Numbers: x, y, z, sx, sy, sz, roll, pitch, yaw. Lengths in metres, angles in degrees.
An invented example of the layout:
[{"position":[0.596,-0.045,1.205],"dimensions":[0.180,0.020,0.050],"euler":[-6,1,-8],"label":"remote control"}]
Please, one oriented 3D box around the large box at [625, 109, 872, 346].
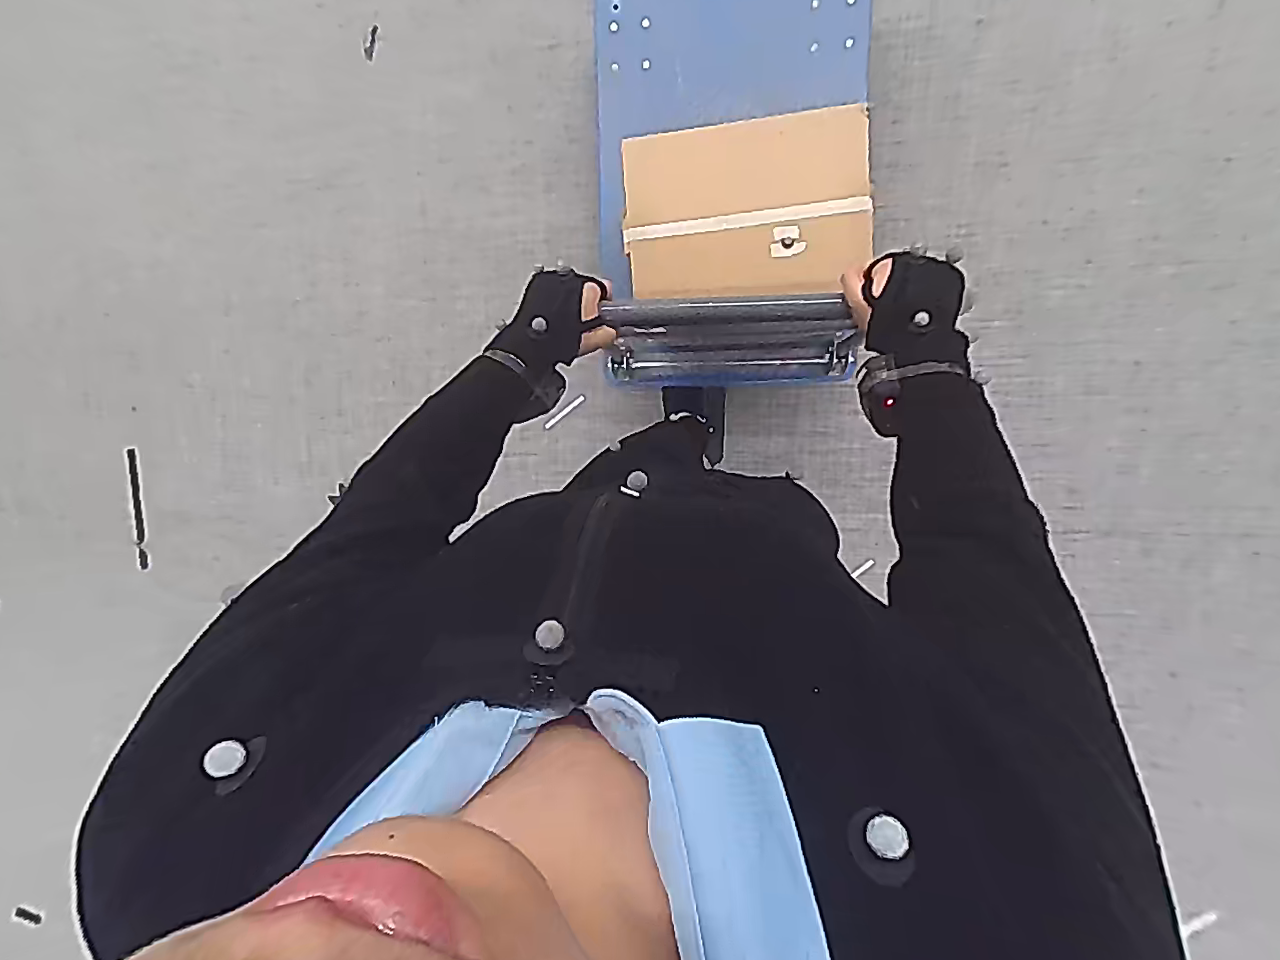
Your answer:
[{"position":[0.200,-0.459,1.071],"dimensions":[0.408,0.320,0.320],"euler":[-4,98,7],"label":"large box"}]
